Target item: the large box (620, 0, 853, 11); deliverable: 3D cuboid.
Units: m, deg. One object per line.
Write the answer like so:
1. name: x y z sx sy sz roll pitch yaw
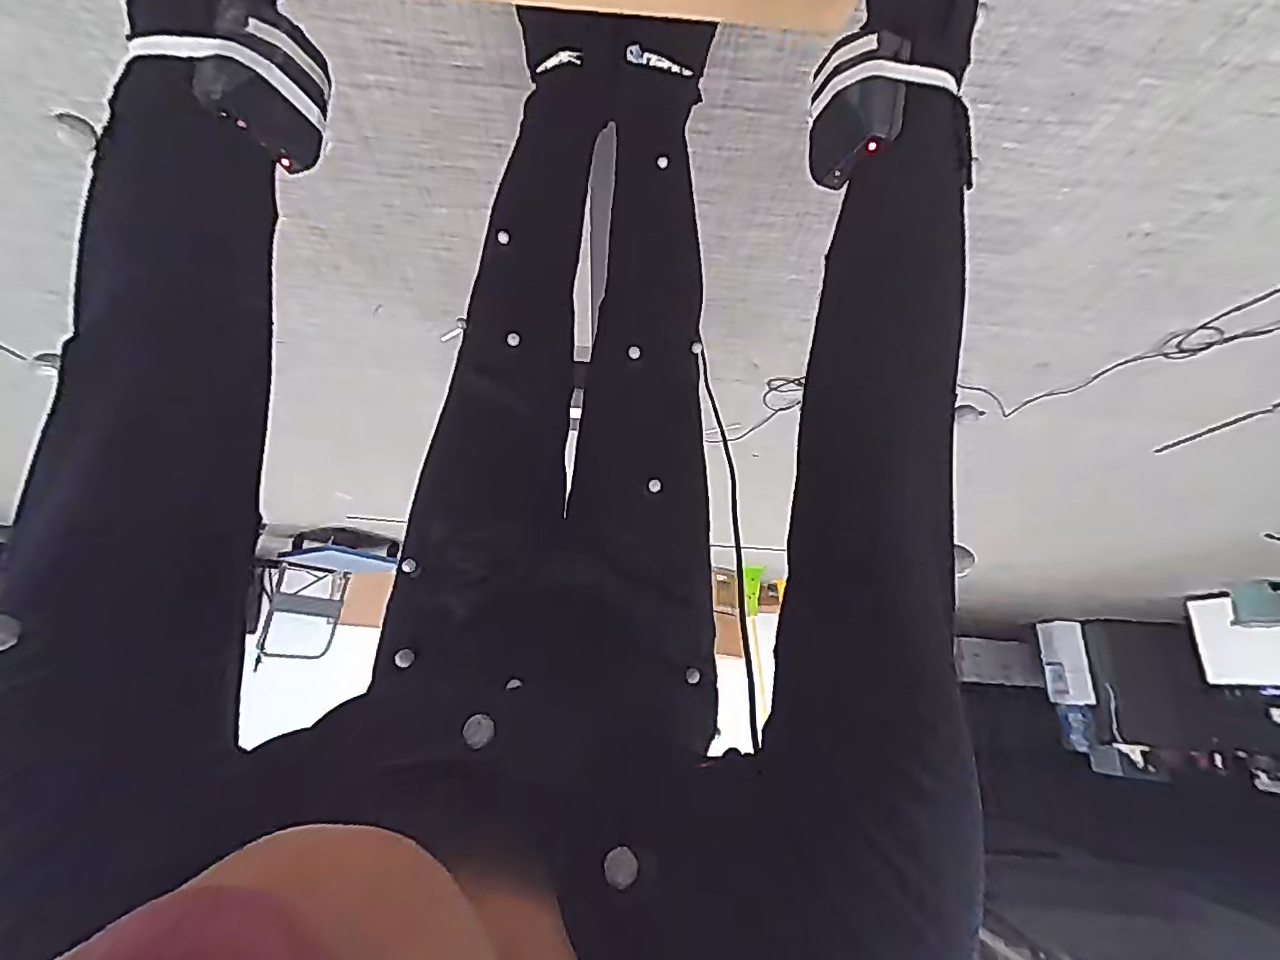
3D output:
1. large box: -0.023 -0.573 0.345 0.408 0.320 0.320 4 156 0
